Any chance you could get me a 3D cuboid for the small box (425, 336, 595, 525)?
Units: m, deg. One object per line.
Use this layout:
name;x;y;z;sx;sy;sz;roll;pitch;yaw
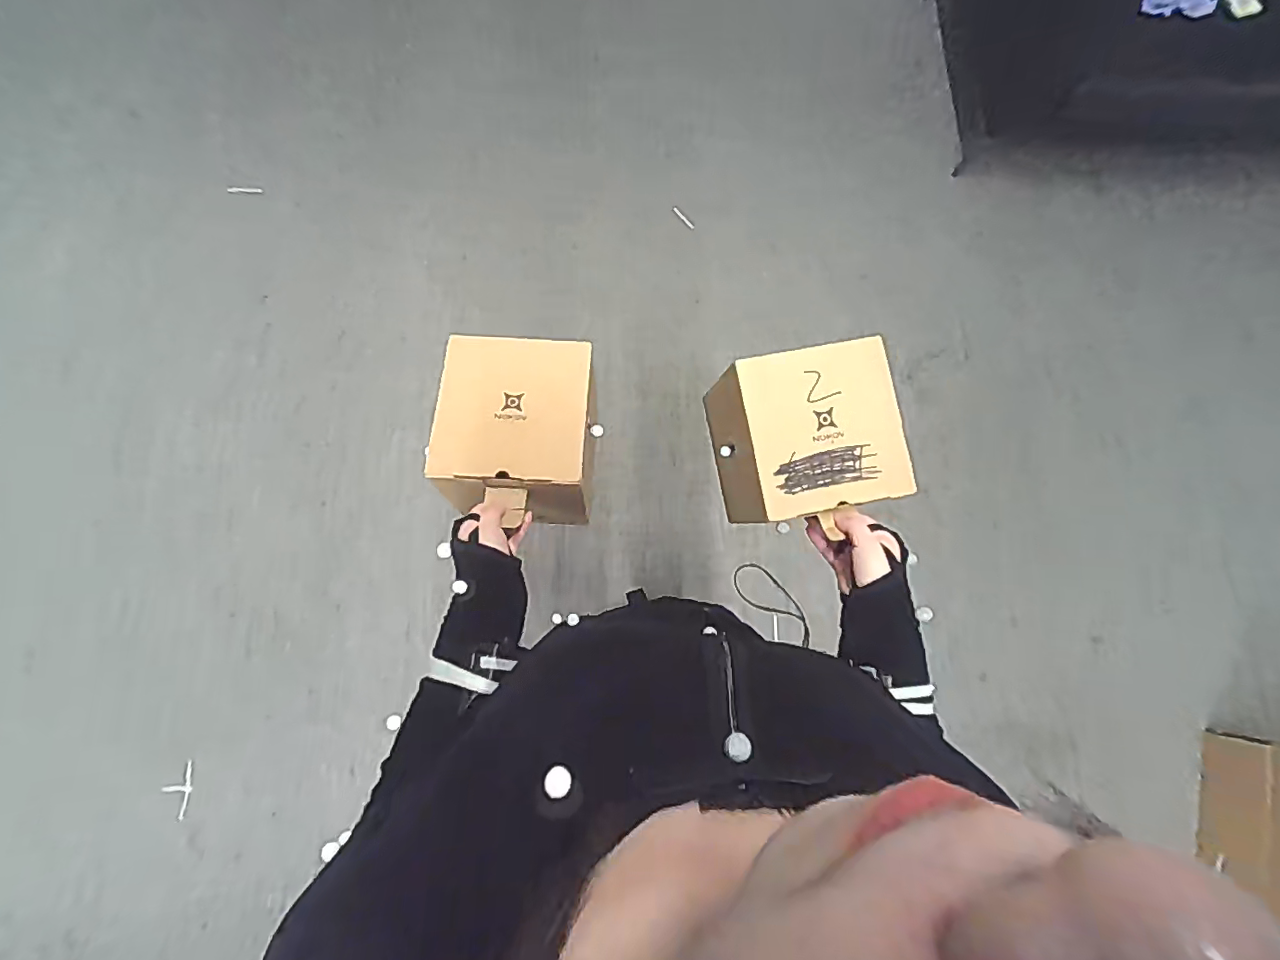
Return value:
small box;-0.143;-0.053;0.666;0.168;0.176;0.179;2;72;-1
